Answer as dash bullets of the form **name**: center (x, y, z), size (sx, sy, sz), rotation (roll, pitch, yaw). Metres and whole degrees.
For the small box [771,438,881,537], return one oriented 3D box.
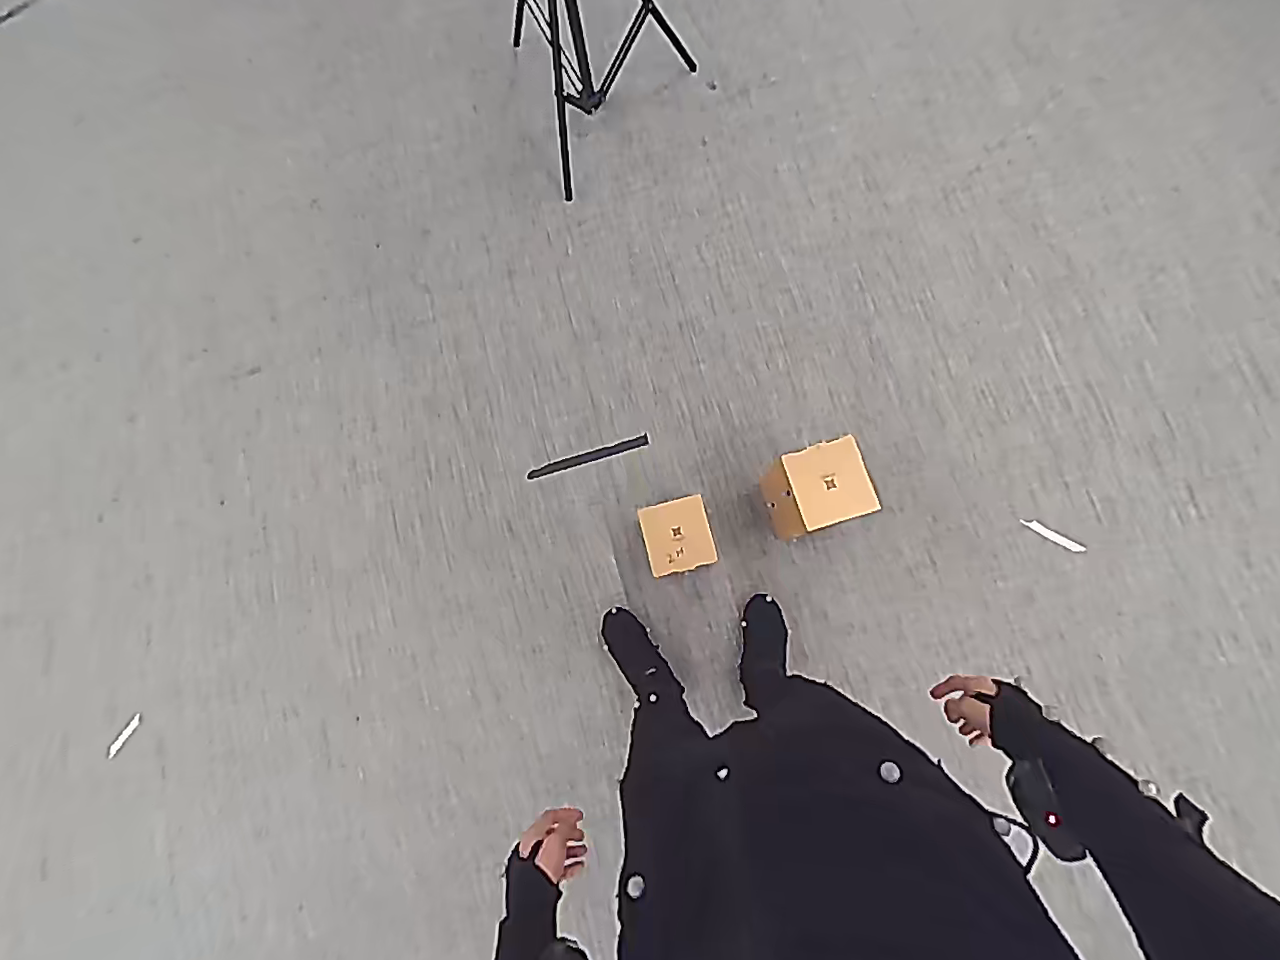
- **small box**: center (0.412, 0.026, 1.229), size (0.168, 0.176, 0.179), rotation (-18, 79, 1)

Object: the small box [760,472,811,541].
- **small box**: center (0.421, 0.055, 1.388), size (0.168, 0.176, 0.179), rotation (-18, 79, 1)

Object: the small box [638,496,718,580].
- **small box**: center (0.095, 0.155, 1.395), size (0.168, 0.176, 0.179), rotation (-15, 80, 2)
